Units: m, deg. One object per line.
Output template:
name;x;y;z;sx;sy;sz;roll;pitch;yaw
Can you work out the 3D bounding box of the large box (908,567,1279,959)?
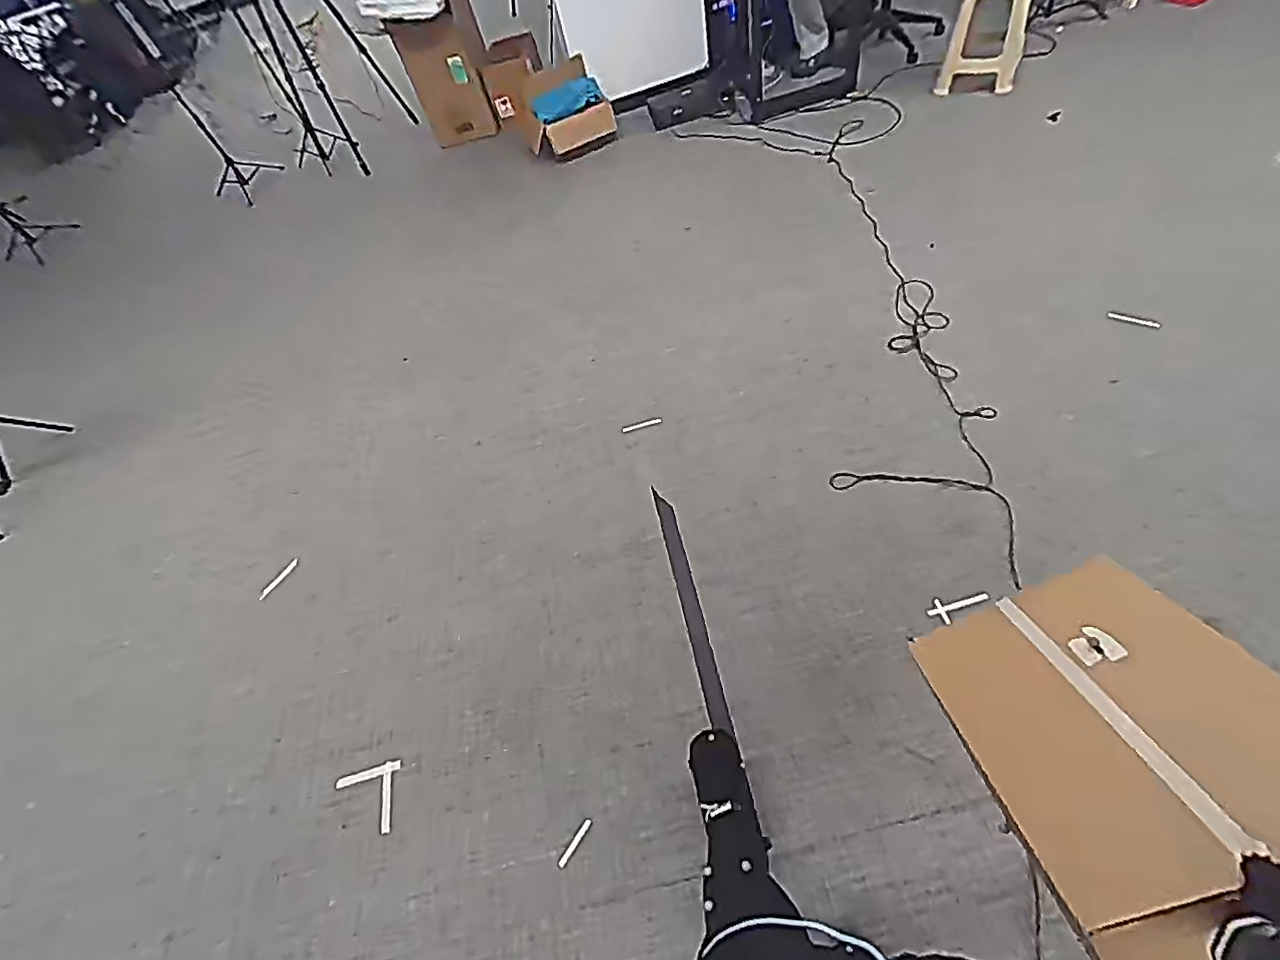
large box;0.641;0.395;0.711;0.320;0.320;0.408;-29;19;13
